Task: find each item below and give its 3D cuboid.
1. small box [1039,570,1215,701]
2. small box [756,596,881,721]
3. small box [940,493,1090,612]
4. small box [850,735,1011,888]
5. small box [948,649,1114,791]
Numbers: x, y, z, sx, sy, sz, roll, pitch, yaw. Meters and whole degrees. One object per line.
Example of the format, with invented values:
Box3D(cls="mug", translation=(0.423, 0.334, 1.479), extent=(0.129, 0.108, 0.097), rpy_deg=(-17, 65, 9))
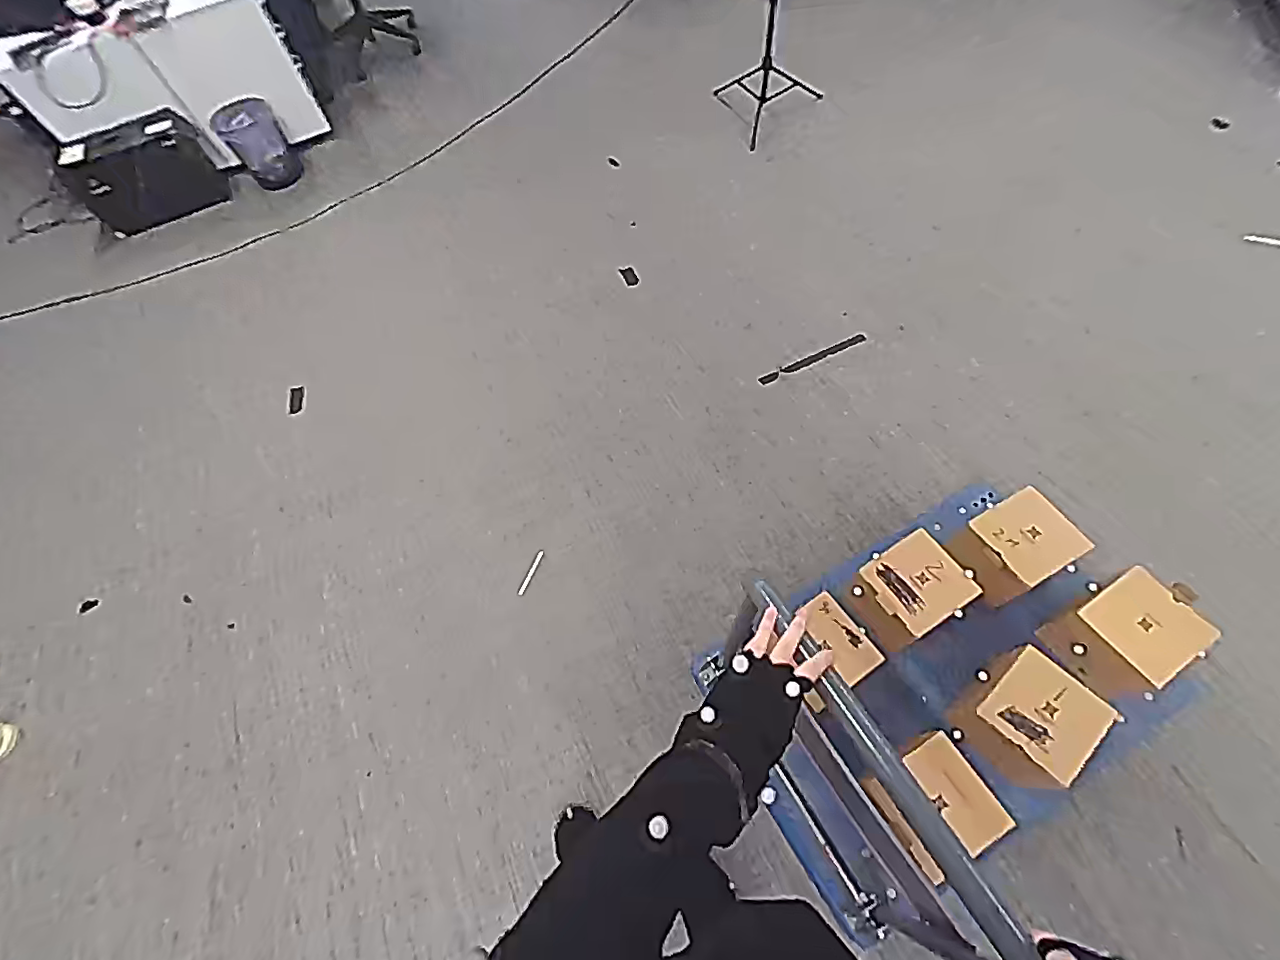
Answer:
Box3D(cls="small box", translation=(0.948, 0.316, 1.078), extent=(0.179, 0.176, 0.168), rpy_deg=(-31, 62, -11))
Box3D(cls="small box", translation=(0.353, 0.372, 1.111), extent=(0.179, 0.176, 0.168), rpy_deg=(-32, 64, -11))
Box3D(cls="small box", translation=(0.801, 0.162, 1.177), extent=(0.179, 0.176, 0.168), rpy_deg=(-27, 61, -8))
Box3D(cls="small box", translation=(0.505, 0.590, 0.976), extent=(0.179, 0.176, 0.168), rpy_deg=(-28, 62, -10))
Box3D(cls="small box", translation=(0.721, 0.457, 1.024), extent=(0.179, 0.176, 0.168), rpy_deg=(-39, 64, -16))
